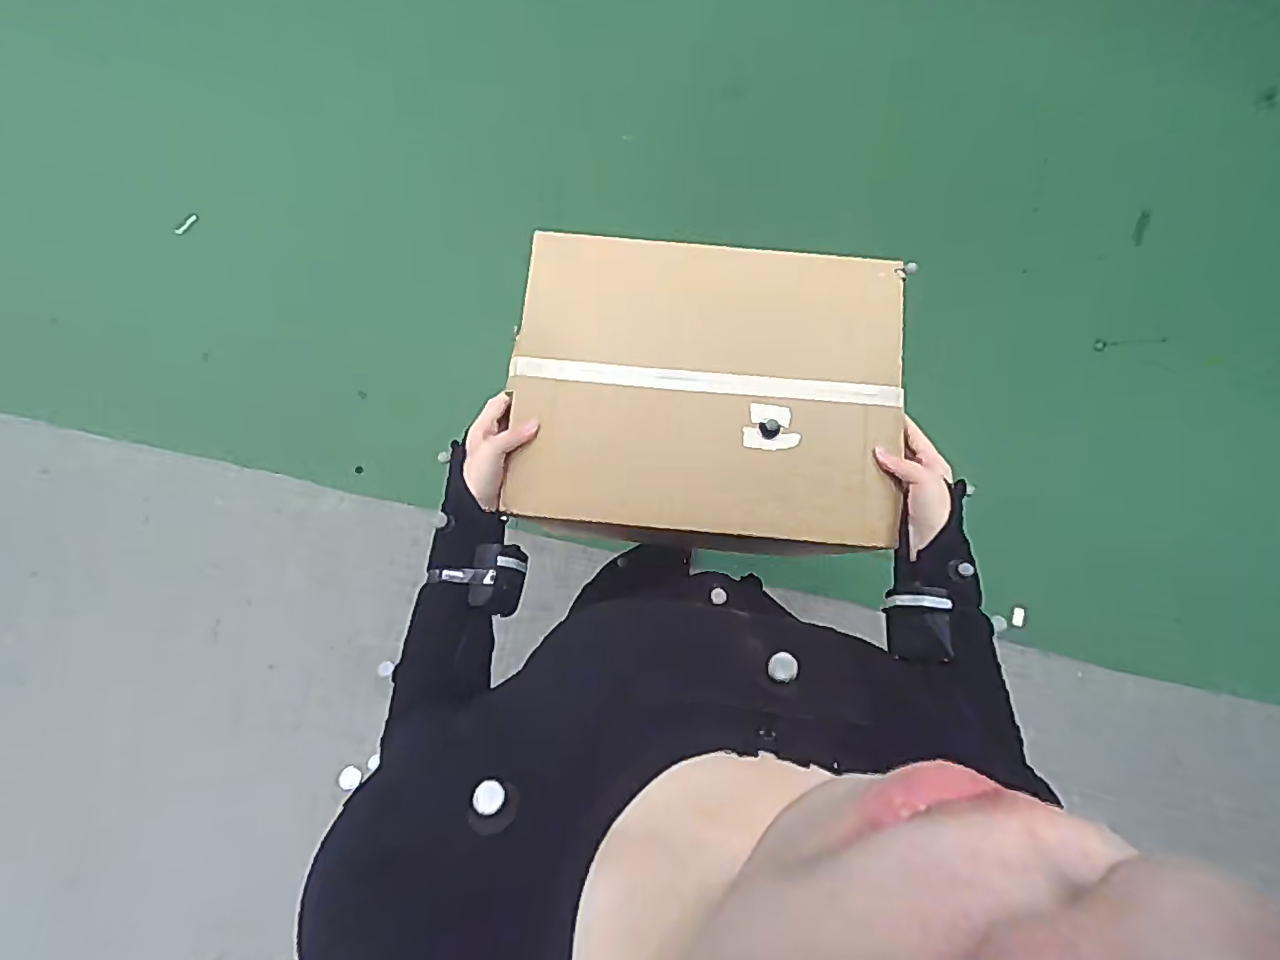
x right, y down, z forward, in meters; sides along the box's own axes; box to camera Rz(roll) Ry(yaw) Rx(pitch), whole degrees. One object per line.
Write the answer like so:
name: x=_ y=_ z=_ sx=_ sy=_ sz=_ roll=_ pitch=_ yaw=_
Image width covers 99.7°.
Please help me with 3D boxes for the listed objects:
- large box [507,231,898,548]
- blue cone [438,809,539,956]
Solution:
large box: x=0.069 y=-0.085 z=0.715 sx=0.408 sy=0.320 sz=0.320 roll=5 pitch=81 yaw=0
blue cone: x=-0.375 y=0.946 z=1.233 sx=0.193 sy=0.380 sz=0.192 roll=21 pitch=82 yaw=4
